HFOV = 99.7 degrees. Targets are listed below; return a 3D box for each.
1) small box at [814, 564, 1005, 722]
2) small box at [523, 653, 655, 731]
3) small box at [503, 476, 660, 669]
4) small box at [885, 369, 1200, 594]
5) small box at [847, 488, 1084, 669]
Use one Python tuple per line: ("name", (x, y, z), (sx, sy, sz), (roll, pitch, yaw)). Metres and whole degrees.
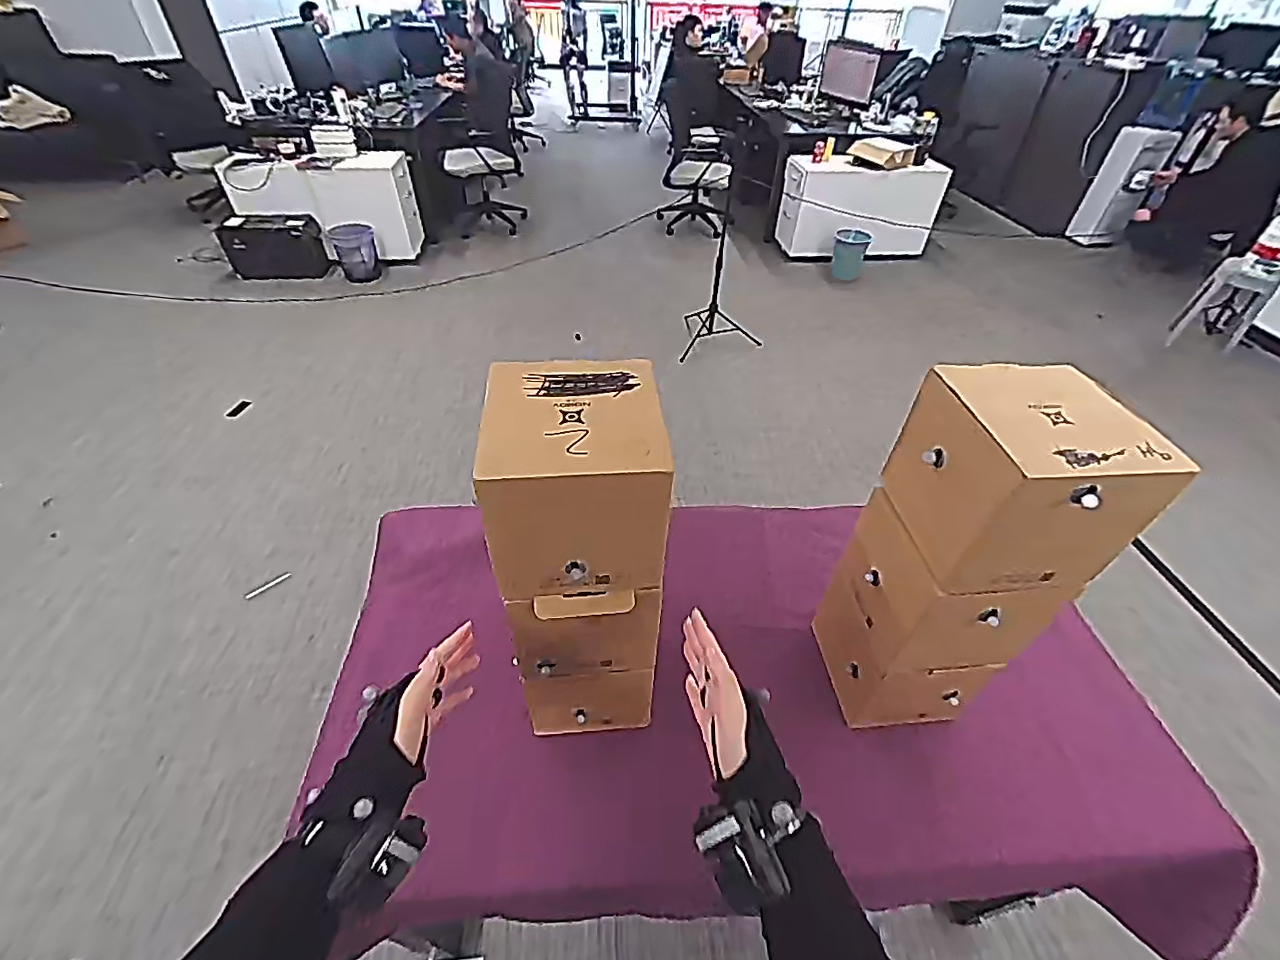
("small box", (0.376, 0.240, 0.795), (0.168, 0.176, 0.179), (-1, 43, -5))
("small box", (-0.073, 0.237, 0.780), (0.168, 0.176, 0.179), (-2, 44, -5))
("small box", (-0.068, 0.117, 0.667), (0.168, 0.176, 0.179), (-3, 43, -6))
("small box", (0.391, -0.001, 0.572), (0.168, 0.176, 0.179), (-2, 43, -5))
("small box", (0.381, 0.123, 0.680), (0.179, 0.176, 0.168), (-2, 44, -5))
